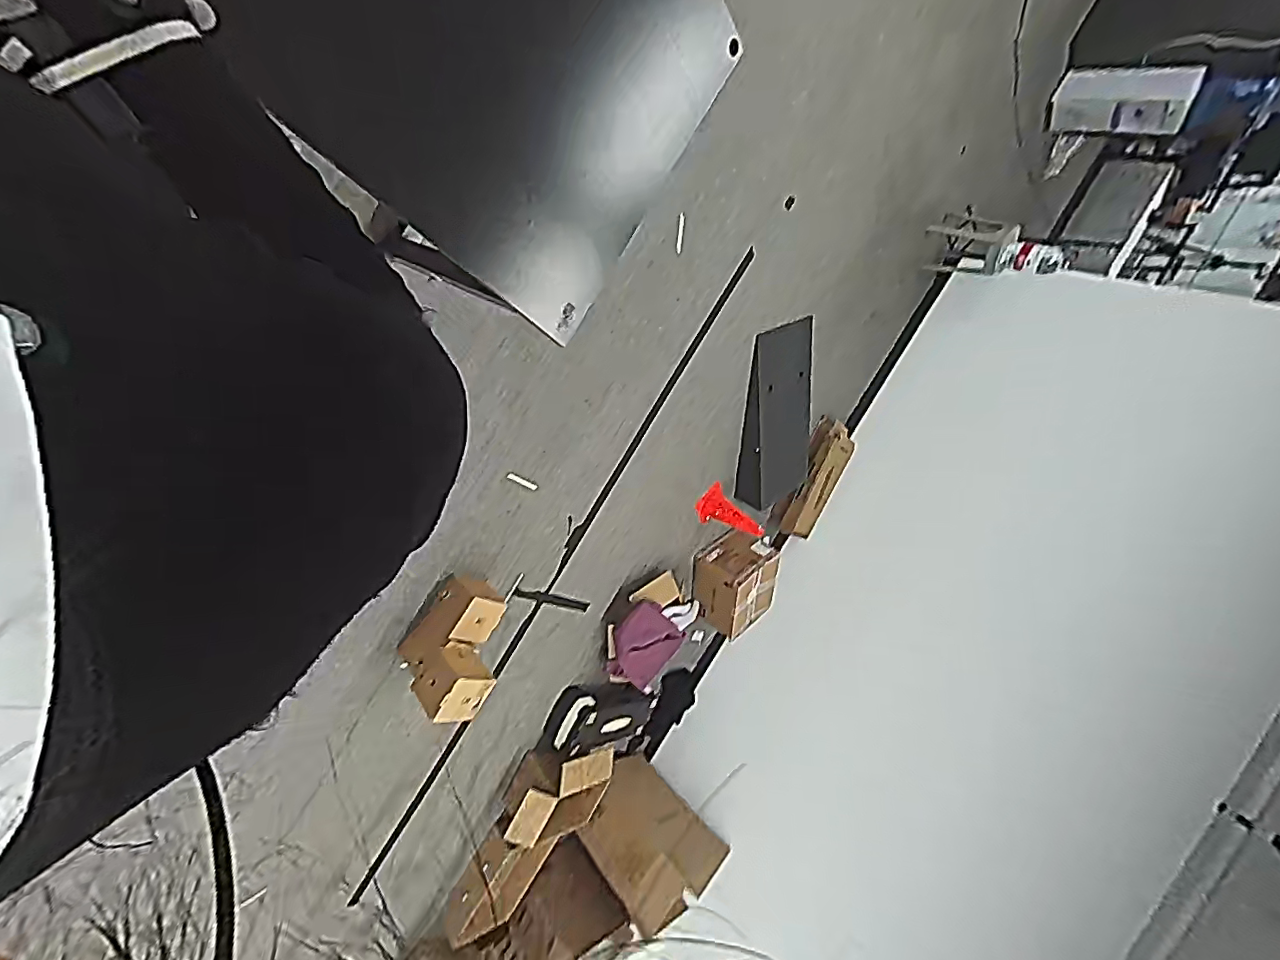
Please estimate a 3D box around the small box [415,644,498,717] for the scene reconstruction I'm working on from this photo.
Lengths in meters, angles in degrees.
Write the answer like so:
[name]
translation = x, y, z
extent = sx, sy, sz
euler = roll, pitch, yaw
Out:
[small box]
translation = -0.629, 0.680, 1.841
extent = 0.168, 0.176, 0.179
euler = -58, 142, 0
